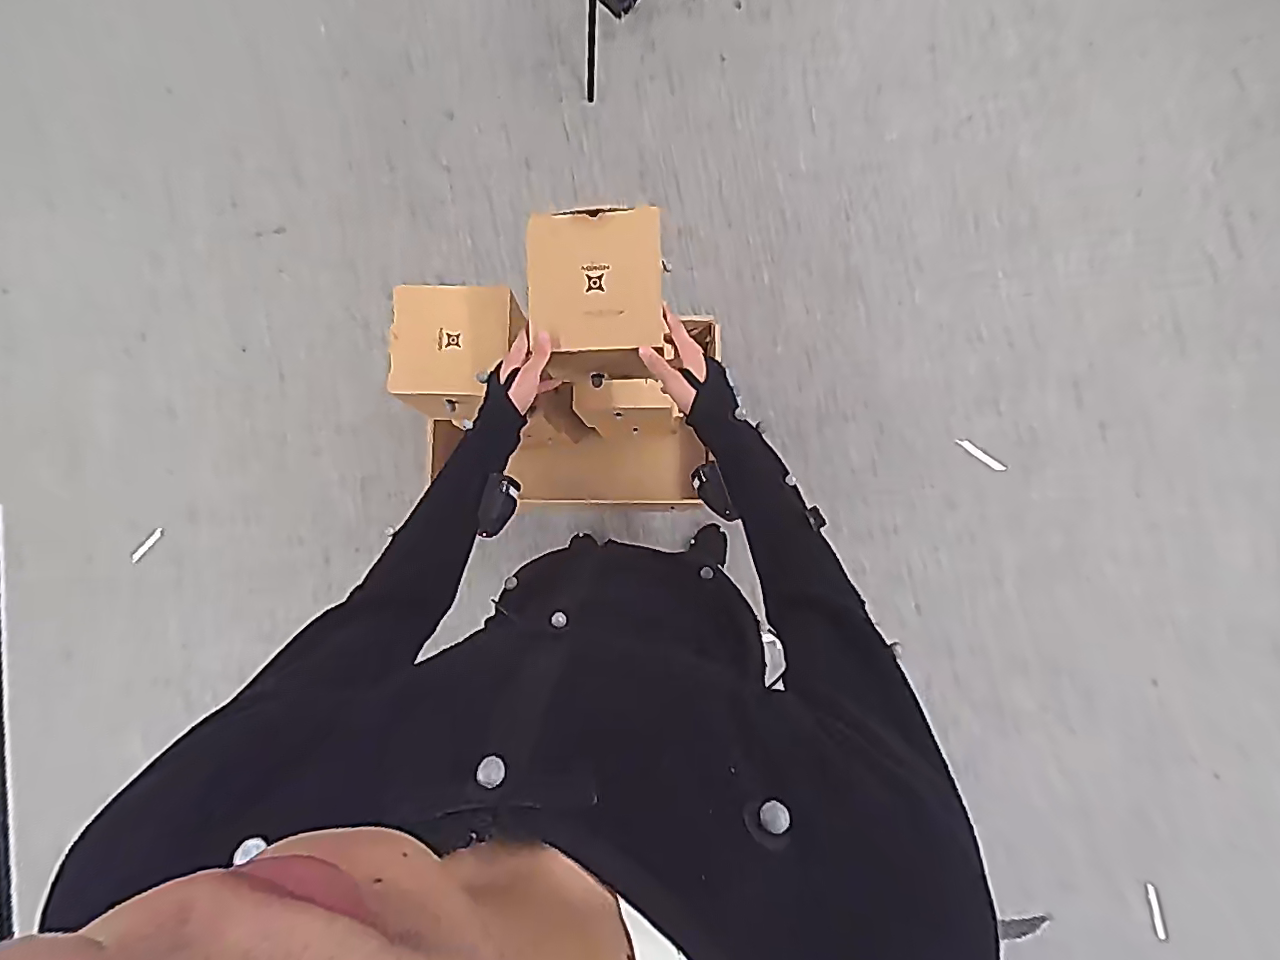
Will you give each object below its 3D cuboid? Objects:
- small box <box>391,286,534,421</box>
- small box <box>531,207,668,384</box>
[{"bbox_3d":[-0.270,-0.193,0.863,0.179,0.176,0.168,1,84,1],"label":"small box"},{"bbox_3d":[-0.047,-0.237,0.733,0.168,0.176,0.179,-2,87,4],"label":"small box"}]
